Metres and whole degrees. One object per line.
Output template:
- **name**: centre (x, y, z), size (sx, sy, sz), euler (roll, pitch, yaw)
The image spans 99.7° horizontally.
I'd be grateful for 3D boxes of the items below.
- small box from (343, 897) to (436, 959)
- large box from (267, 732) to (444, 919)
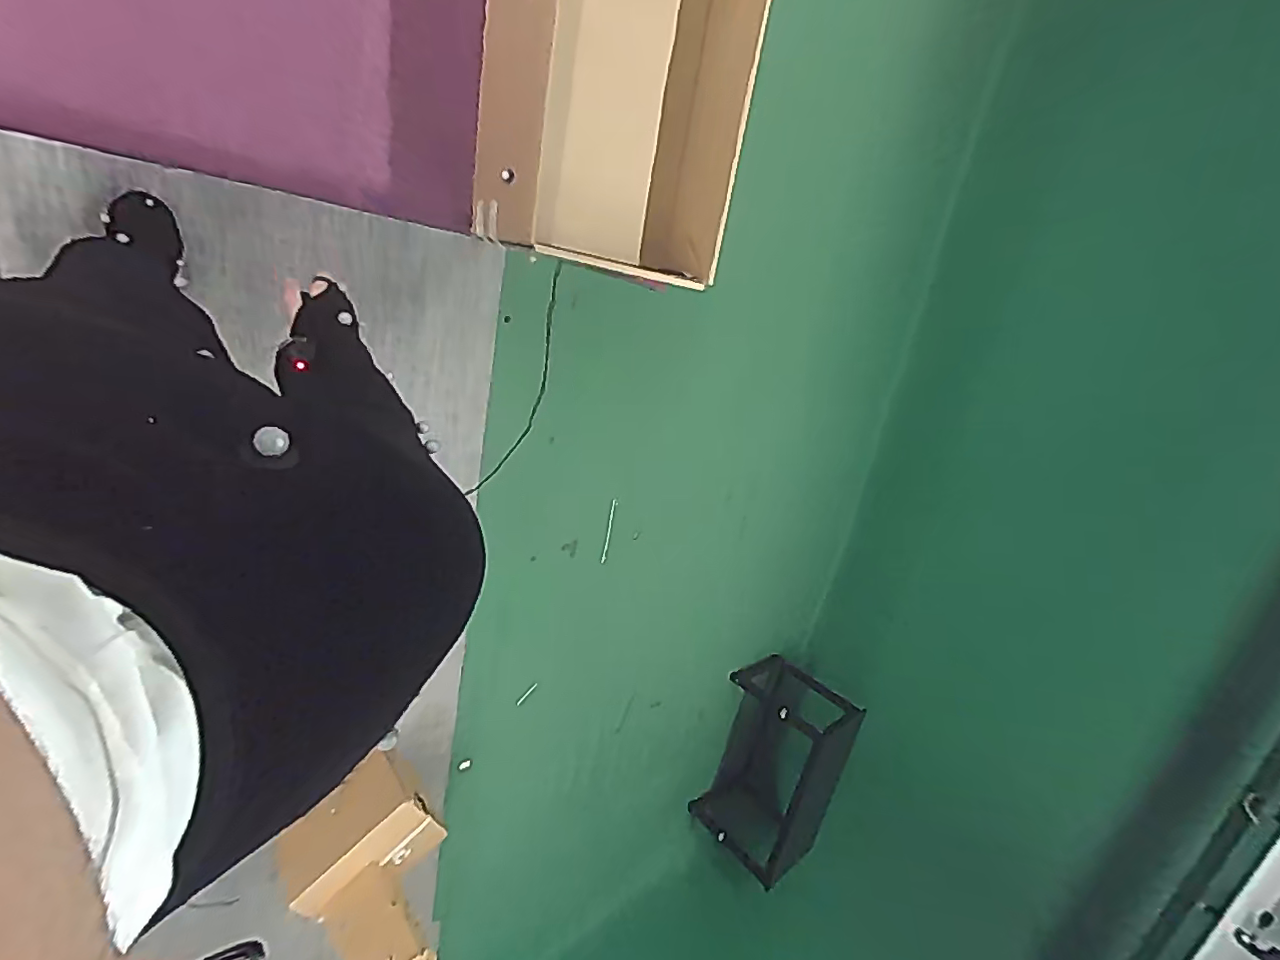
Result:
- **small box**: centre (-0.751, 1.411, 1.619), size (0.179, 0.176, 0.168), euler (-32, 130, -30)
- **large box**: centre (-0.985, 1.193, 1.890), size (0.408, 0.320, 0.320), euler (-39, 135, -26)
